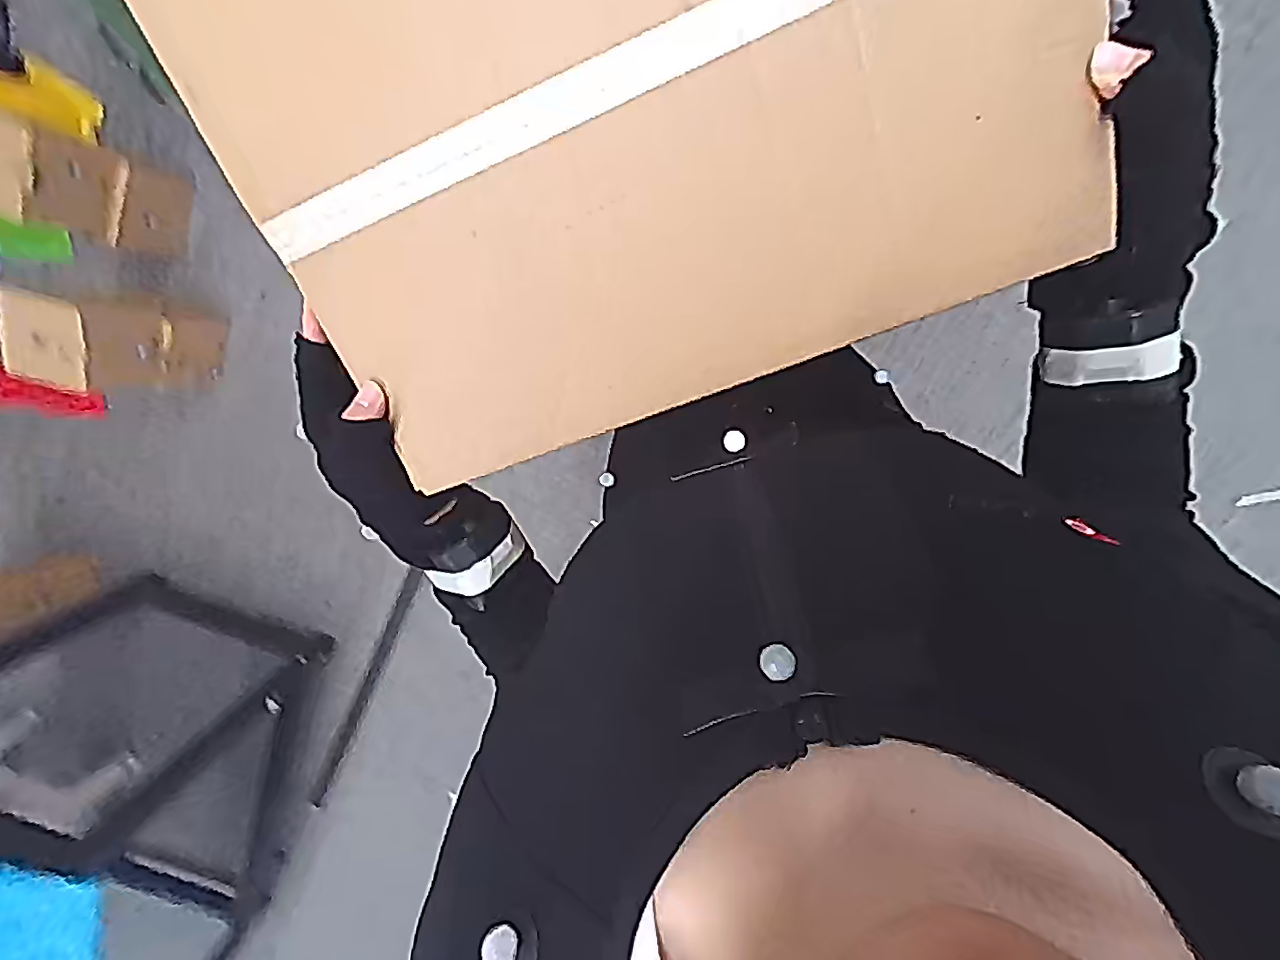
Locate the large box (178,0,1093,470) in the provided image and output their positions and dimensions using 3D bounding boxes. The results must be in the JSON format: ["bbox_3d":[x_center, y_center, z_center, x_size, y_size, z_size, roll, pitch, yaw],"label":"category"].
[{"bbox_3d":[0.005,-0.254,0.403,0.408,0.320,0.320,-18,112,10],"label":"large box"}]
